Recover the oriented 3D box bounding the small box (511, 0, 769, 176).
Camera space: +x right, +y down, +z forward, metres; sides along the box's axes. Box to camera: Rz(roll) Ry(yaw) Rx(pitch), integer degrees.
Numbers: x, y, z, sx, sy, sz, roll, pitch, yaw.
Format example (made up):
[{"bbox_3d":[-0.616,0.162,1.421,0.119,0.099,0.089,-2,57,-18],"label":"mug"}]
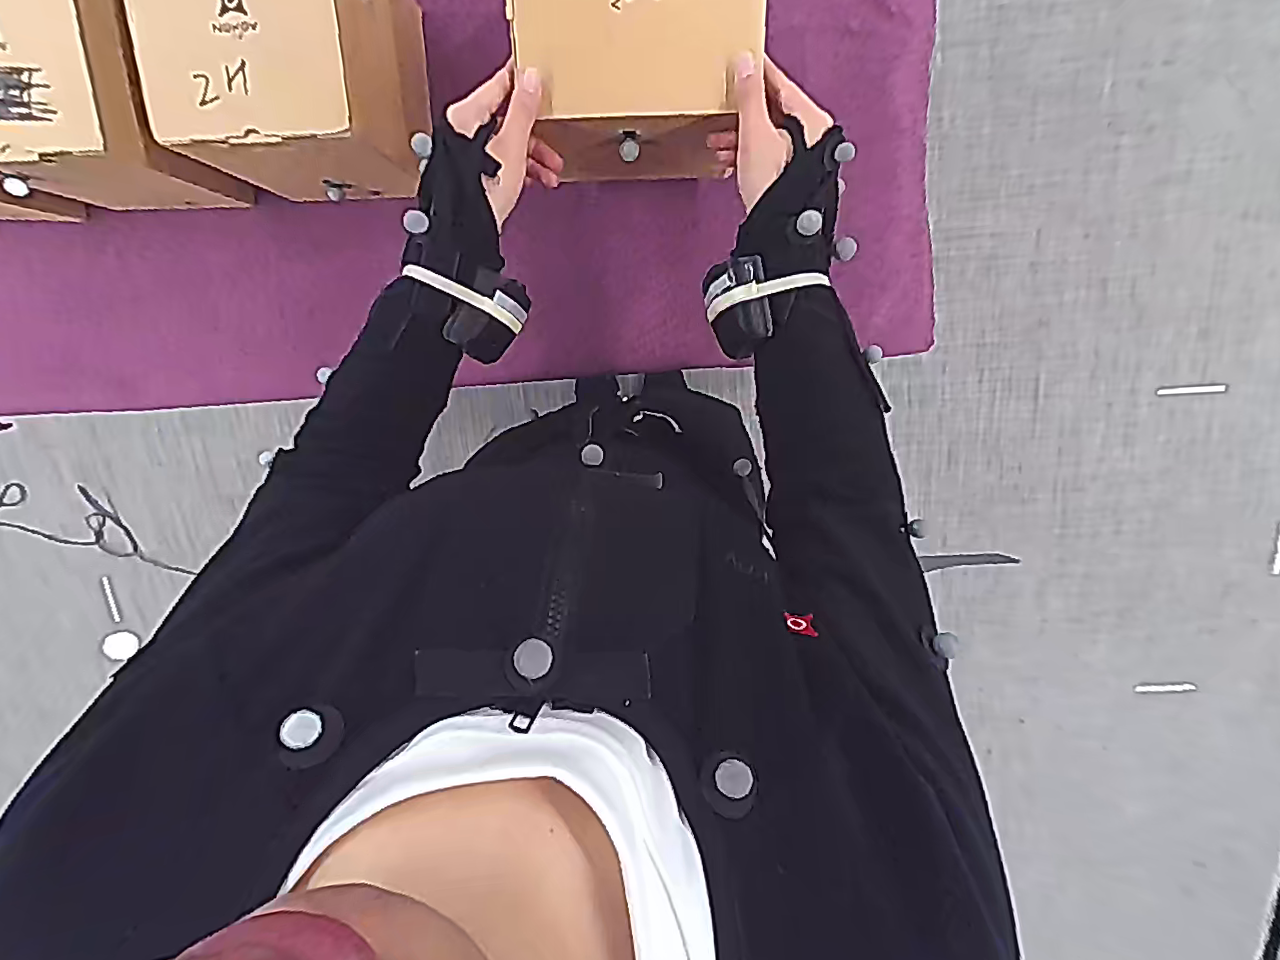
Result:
[{"bbox_3d":[0.002,-0.357,0.434,0.179,0.176,0.168,0,106,3],"label":"small box"}]
